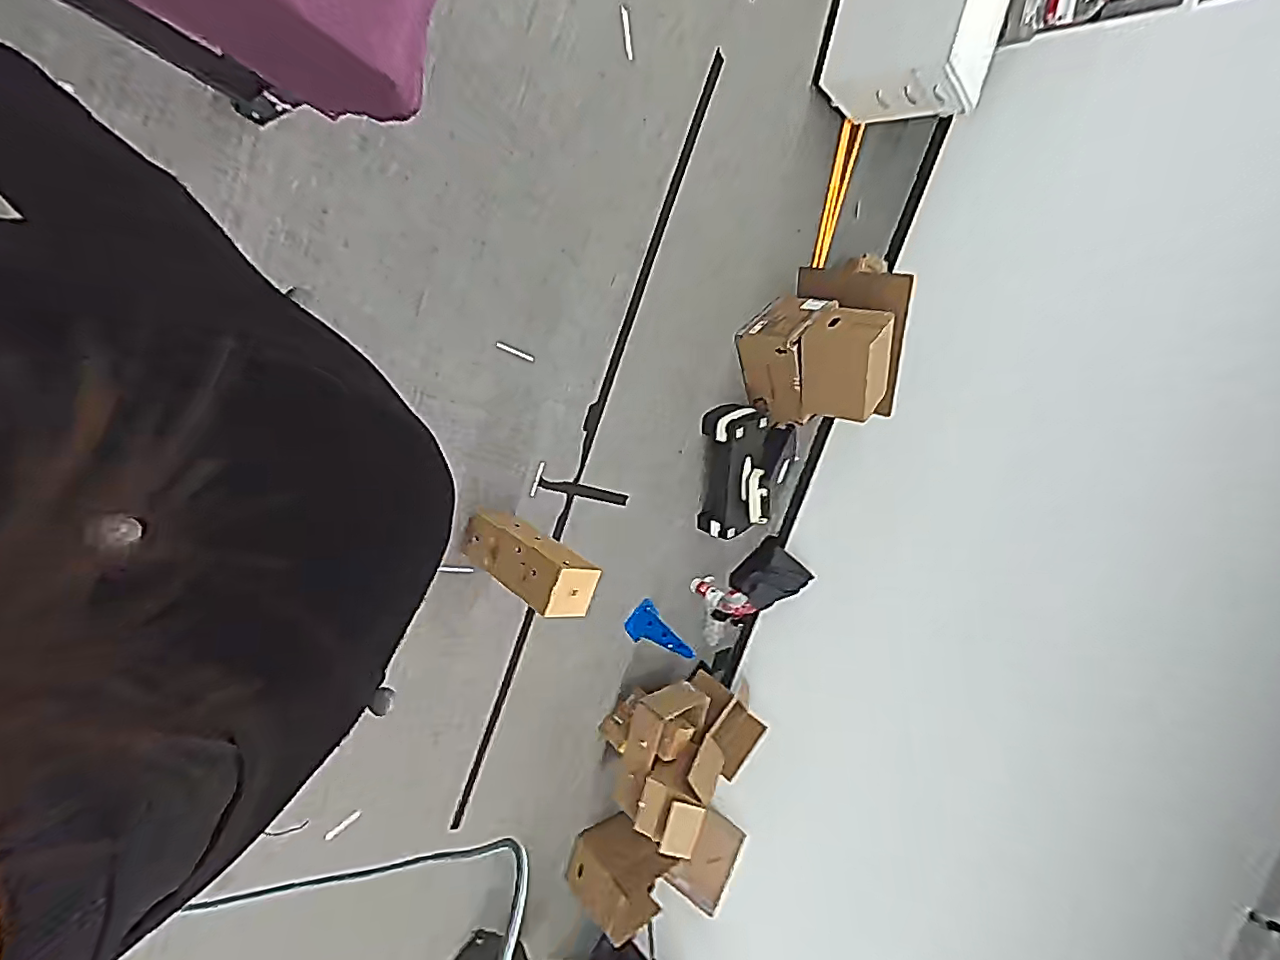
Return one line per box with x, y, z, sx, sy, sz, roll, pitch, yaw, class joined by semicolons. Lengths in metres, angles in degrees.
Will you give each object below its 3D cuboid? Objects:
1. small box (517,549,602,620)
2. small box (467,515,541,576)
-0.259;0.332;1.733;0.179;0.176;0.168;14;98;-48;small box
-0.491;0.234;1.943;0.179;0.176;0.168;9;101;-47;small box
